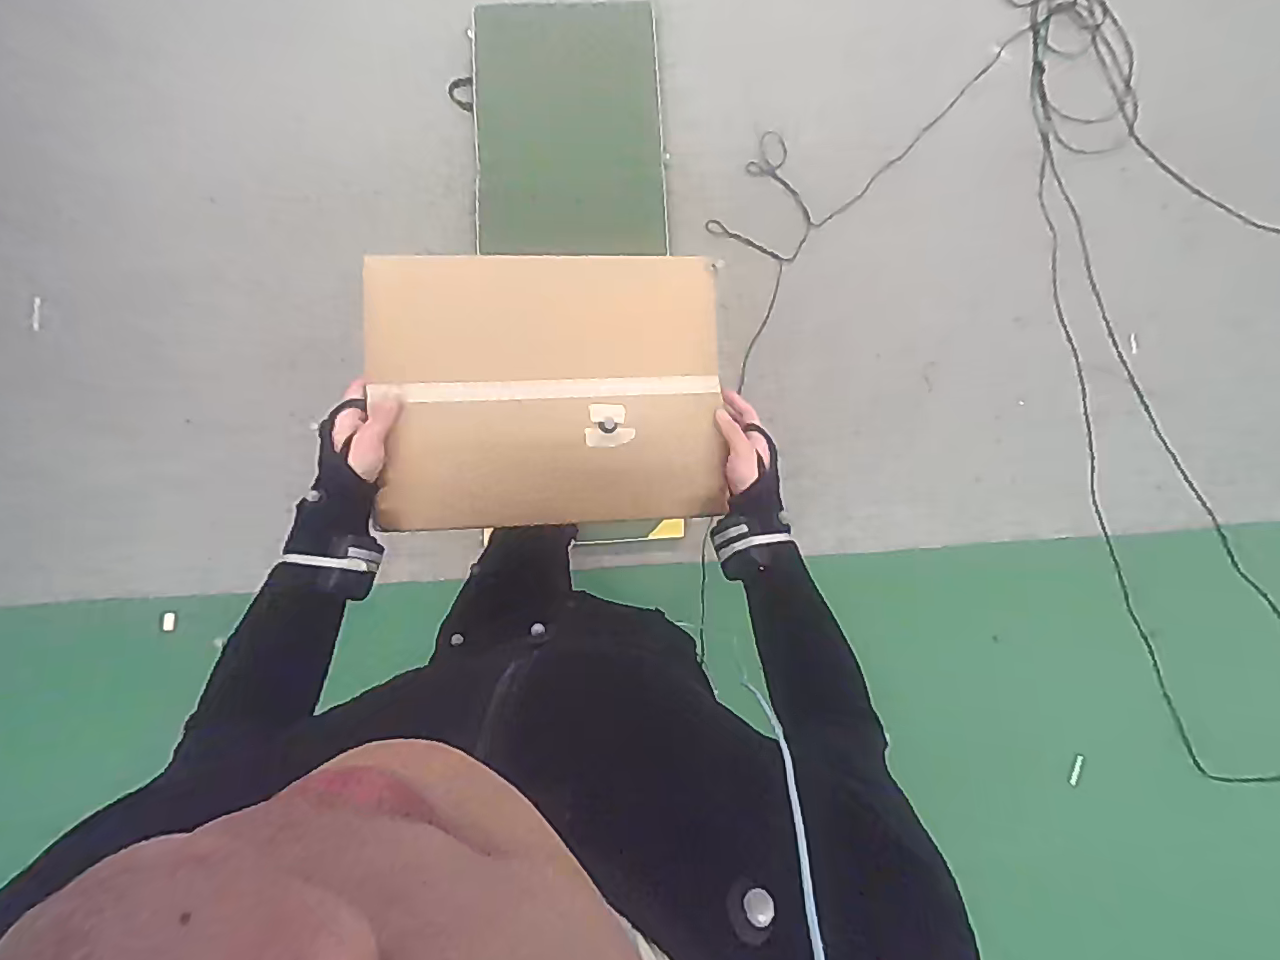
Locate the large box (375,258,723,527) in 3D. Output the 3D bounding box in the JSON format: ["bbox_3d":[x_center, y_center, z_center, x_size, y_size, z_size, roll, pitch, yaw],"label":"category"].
[{"bbox_3d":[-0.120,-0.106,0.791,0.408,0.320,0.320,-3,89,-6],"label":"large box"}]
